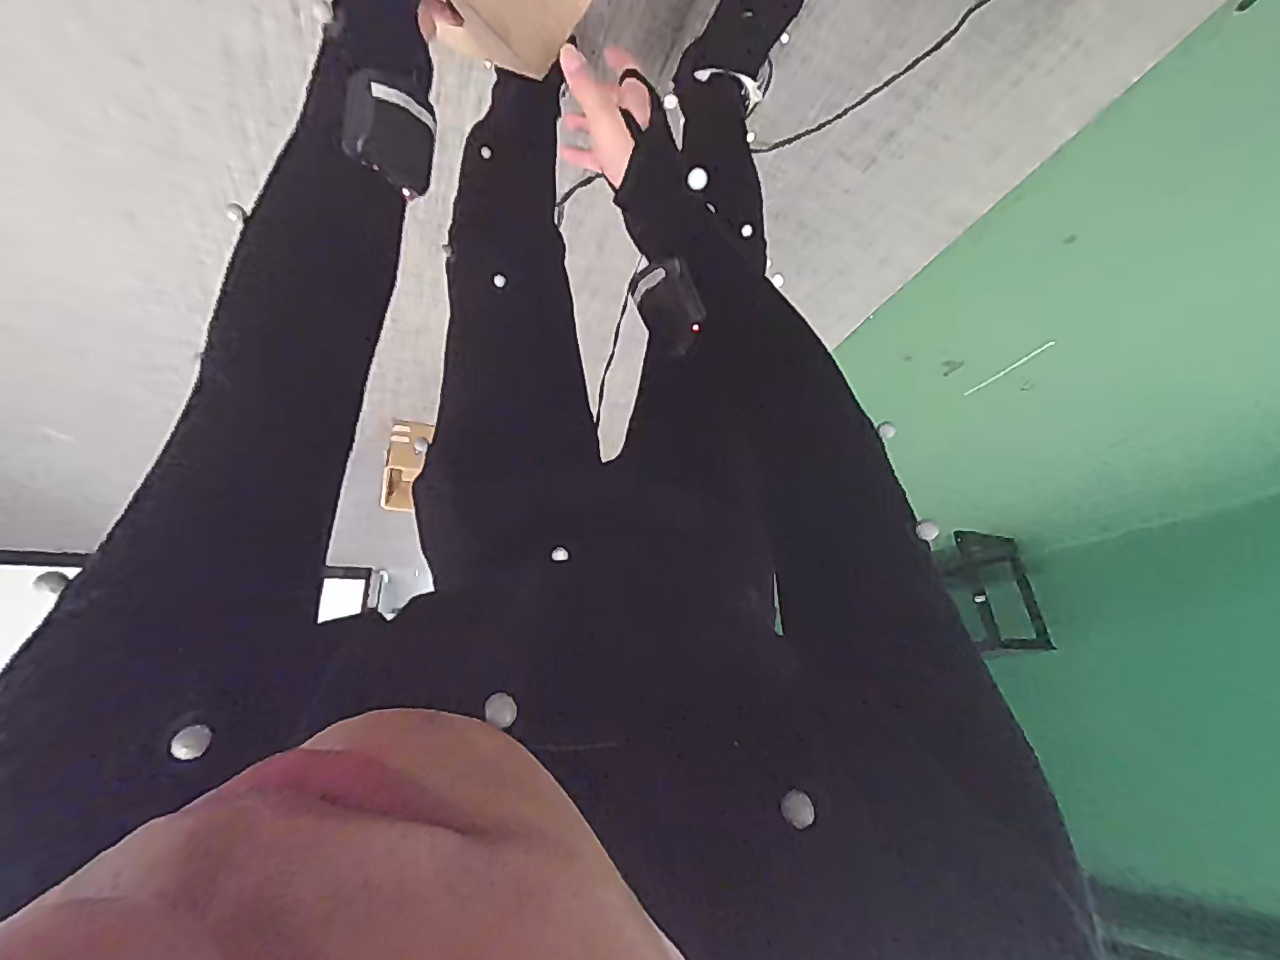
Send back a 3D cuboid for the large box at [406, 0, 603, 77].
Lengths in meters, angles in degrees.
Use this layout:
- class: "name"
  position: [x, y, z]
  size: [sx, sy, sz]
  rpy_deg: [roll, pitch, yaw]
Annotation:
- class: "large box"
  position: [-0.134, -0.650, 0.447]
  size: [0.320, 0.320, 0.408]
  rpy_deg: [23, 110, -46]
